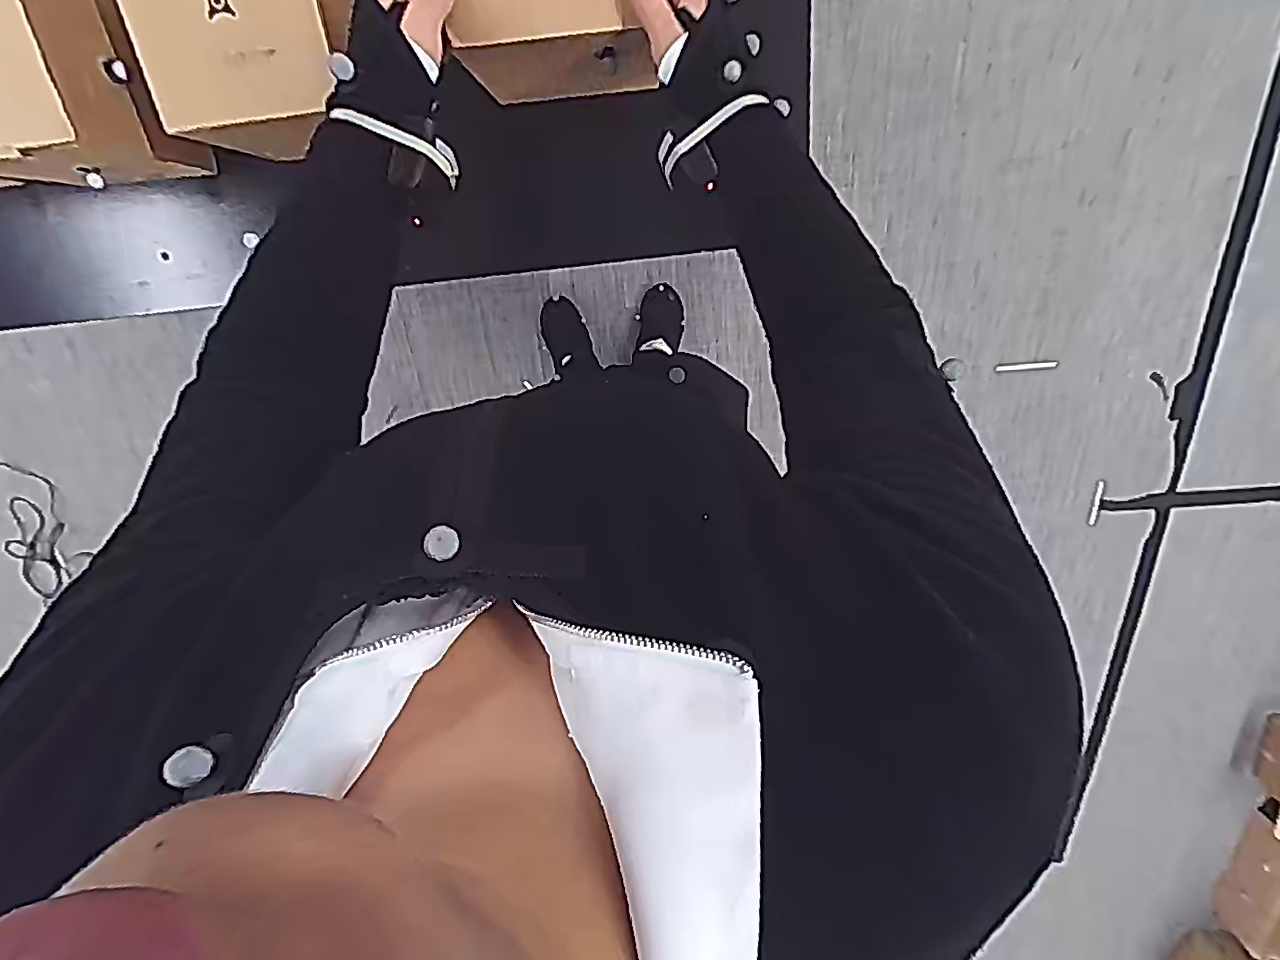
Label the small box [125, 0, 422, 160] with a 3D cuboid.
[{"bbox_3d":[-0.332,-0.422,0.509,0.168,0.176,0.179,-5,113,4],"label":"small box"}]

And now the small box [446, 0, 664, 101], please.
[{"bbox_3d":[-0.072,-0.463,0.485,0.179,0.176,0.168,-3,112,3],"label":"small box"}]

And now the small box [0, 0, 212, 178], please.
[{"bbox_3d":[-0.570,-0.399,0.519,0.168,0.176,0.179,-5,113,2],"label":"small box"}]
